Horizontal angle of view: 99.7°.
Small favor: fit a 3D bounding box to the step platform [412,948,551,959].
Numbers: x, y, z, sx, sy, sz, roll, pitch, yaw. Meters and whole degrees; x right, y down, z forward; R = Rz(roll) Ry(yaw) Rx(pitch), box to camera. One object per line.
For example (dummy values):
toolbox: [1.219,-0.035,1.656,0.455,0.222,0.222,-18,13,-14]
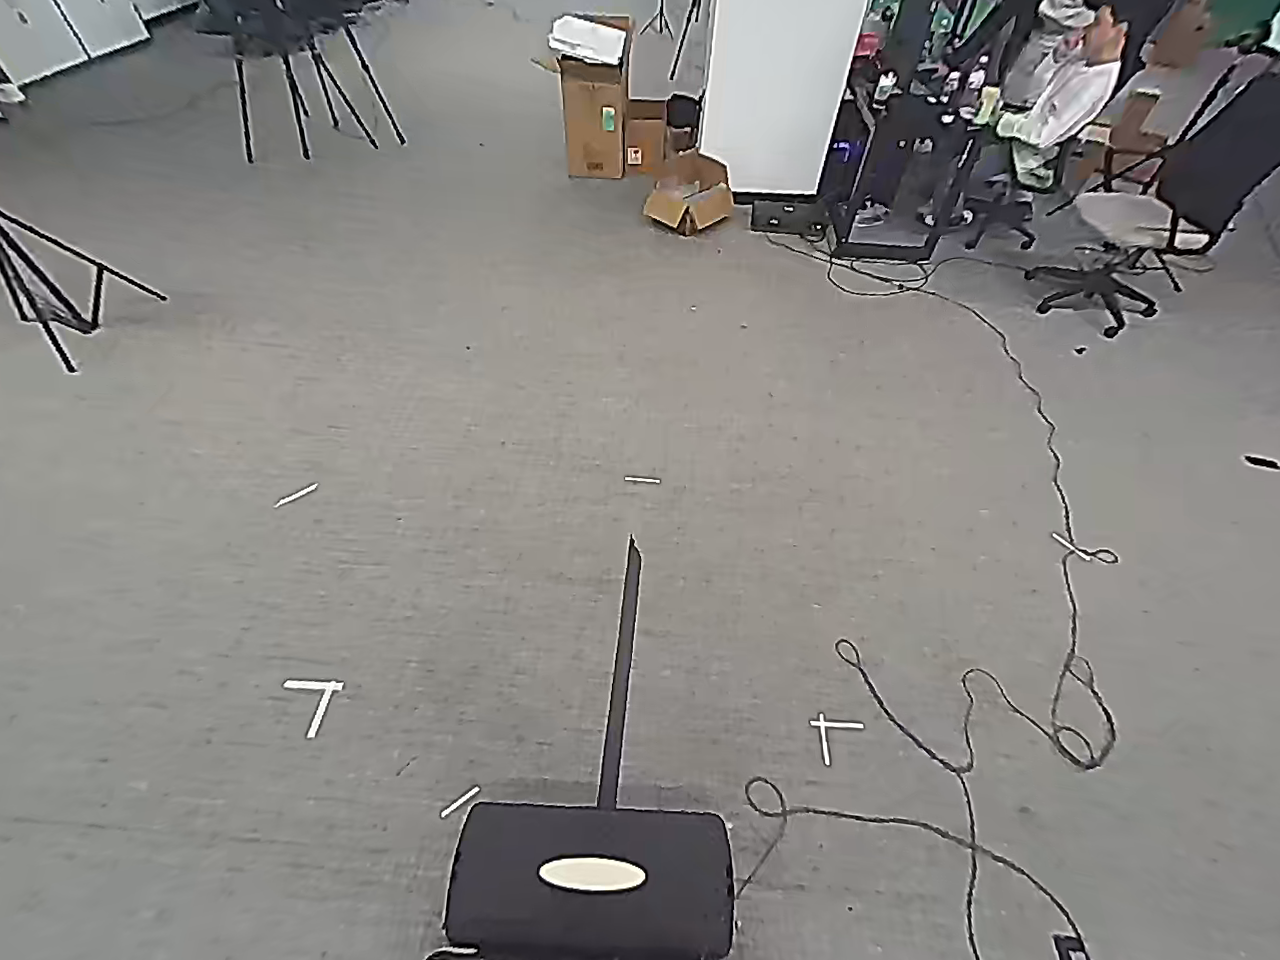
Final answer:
step platform: [-0.166,1.148,1.082,0.684,0.204,0.286,3,50,2]
